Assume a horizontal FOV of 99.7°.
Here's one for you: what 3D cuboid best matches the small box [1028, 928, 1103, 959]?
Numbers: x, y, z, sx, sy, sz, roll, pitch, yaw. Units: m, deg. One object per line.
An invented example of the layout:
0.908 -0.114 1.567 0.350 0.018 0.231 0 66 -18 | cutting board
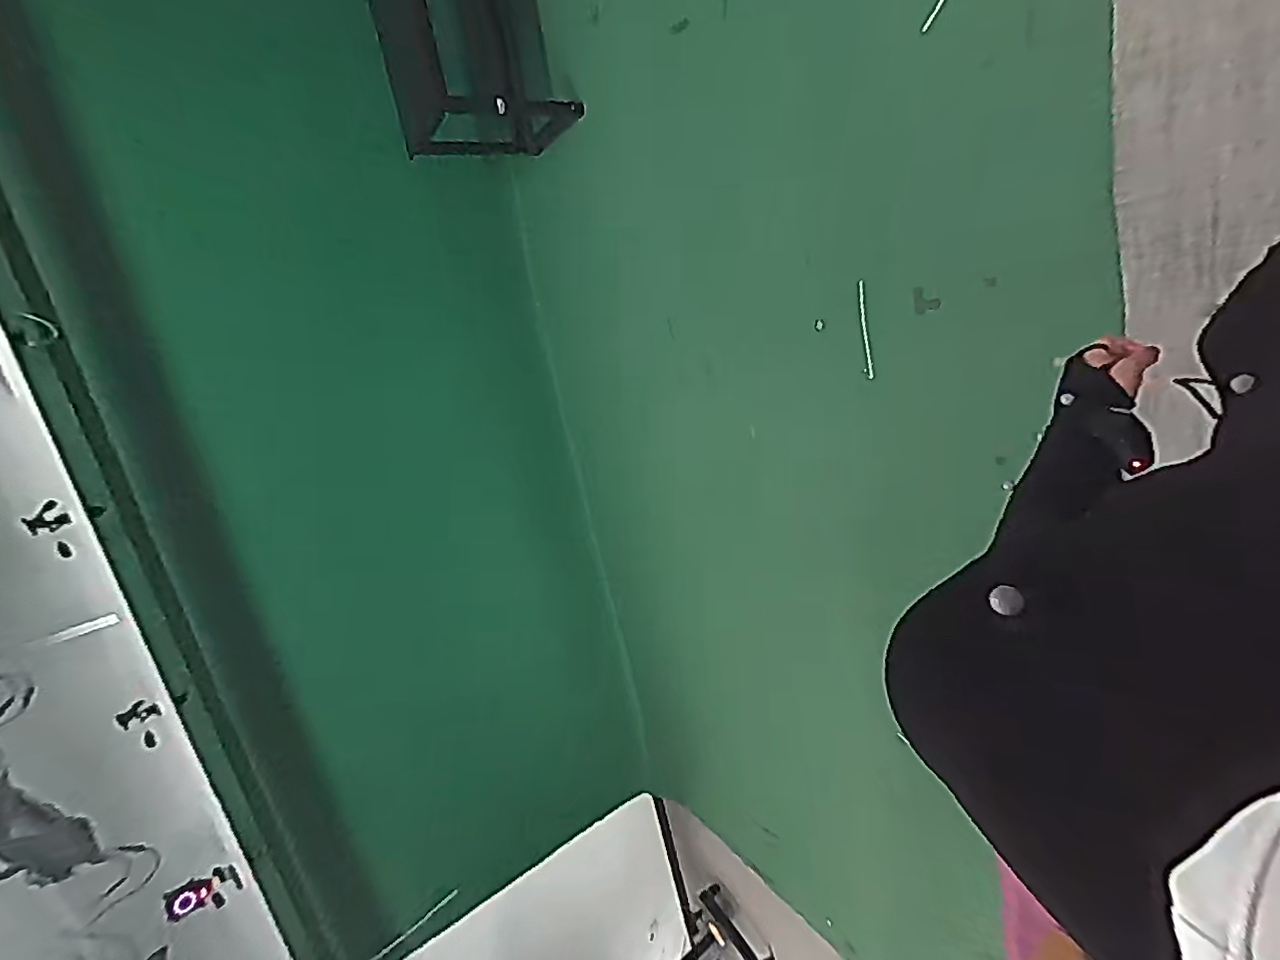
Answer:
0.775 0.958 0.942 0.168 0.176 0.179 9 116 55 | small box
